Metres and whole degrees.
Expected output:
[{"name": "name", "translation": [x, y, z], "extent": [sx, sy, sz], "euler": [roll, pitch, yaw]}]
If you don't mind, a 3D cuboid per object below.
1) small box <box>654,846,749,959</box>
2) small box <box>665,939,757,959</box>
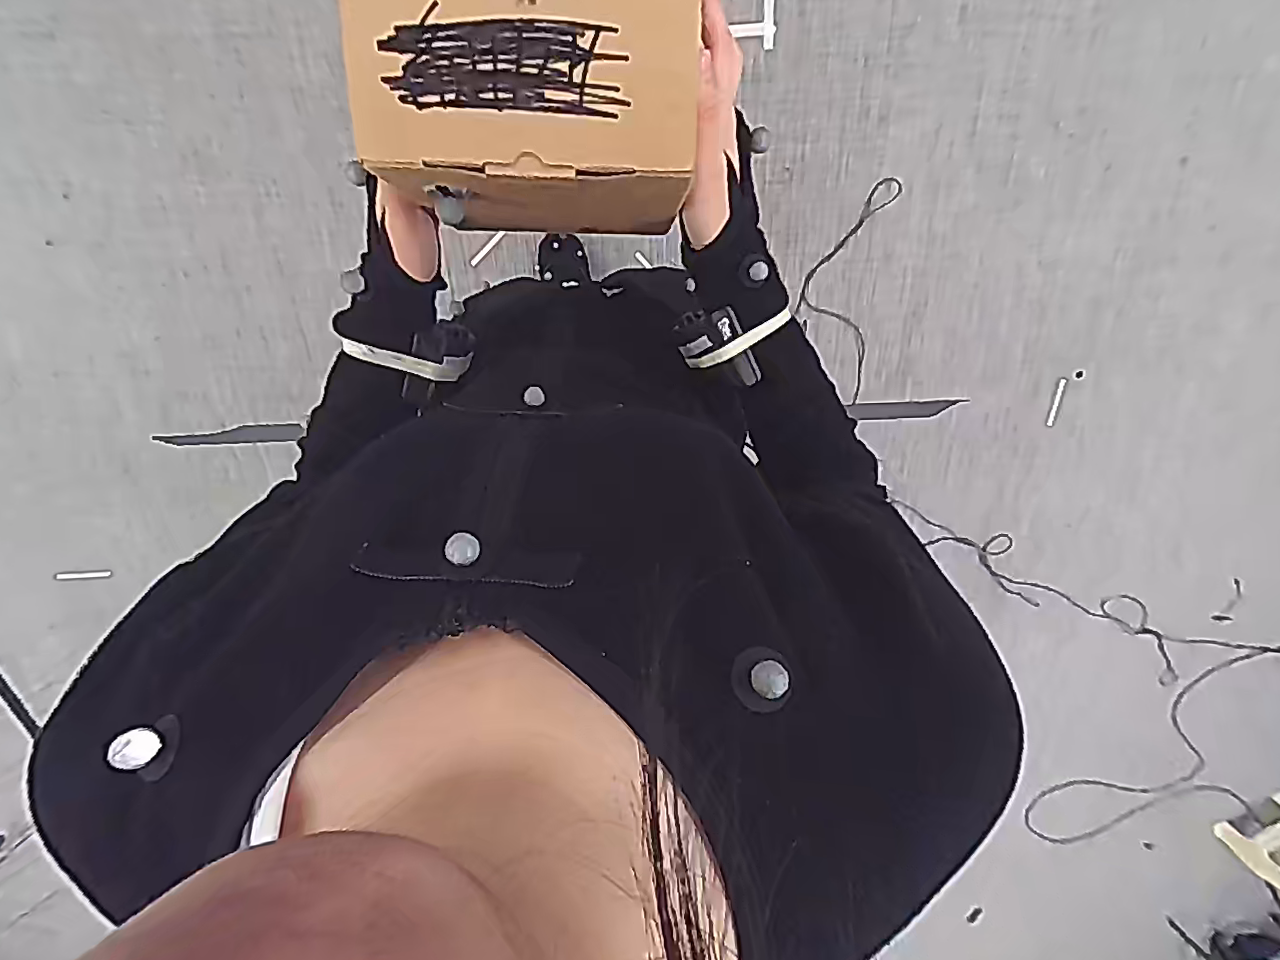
[{"name": "small box", "translation": [0.119, 0.885, 1.097], "extent": [0.168, 0.176, 0.179], "euler": [-6, 115, -2]}, {"name": "small box", "translation": [0.133, 0.954, 0.951], "extent": [0.179, 0.176, 0.168], "euler": [-7, 117, -2]}]
